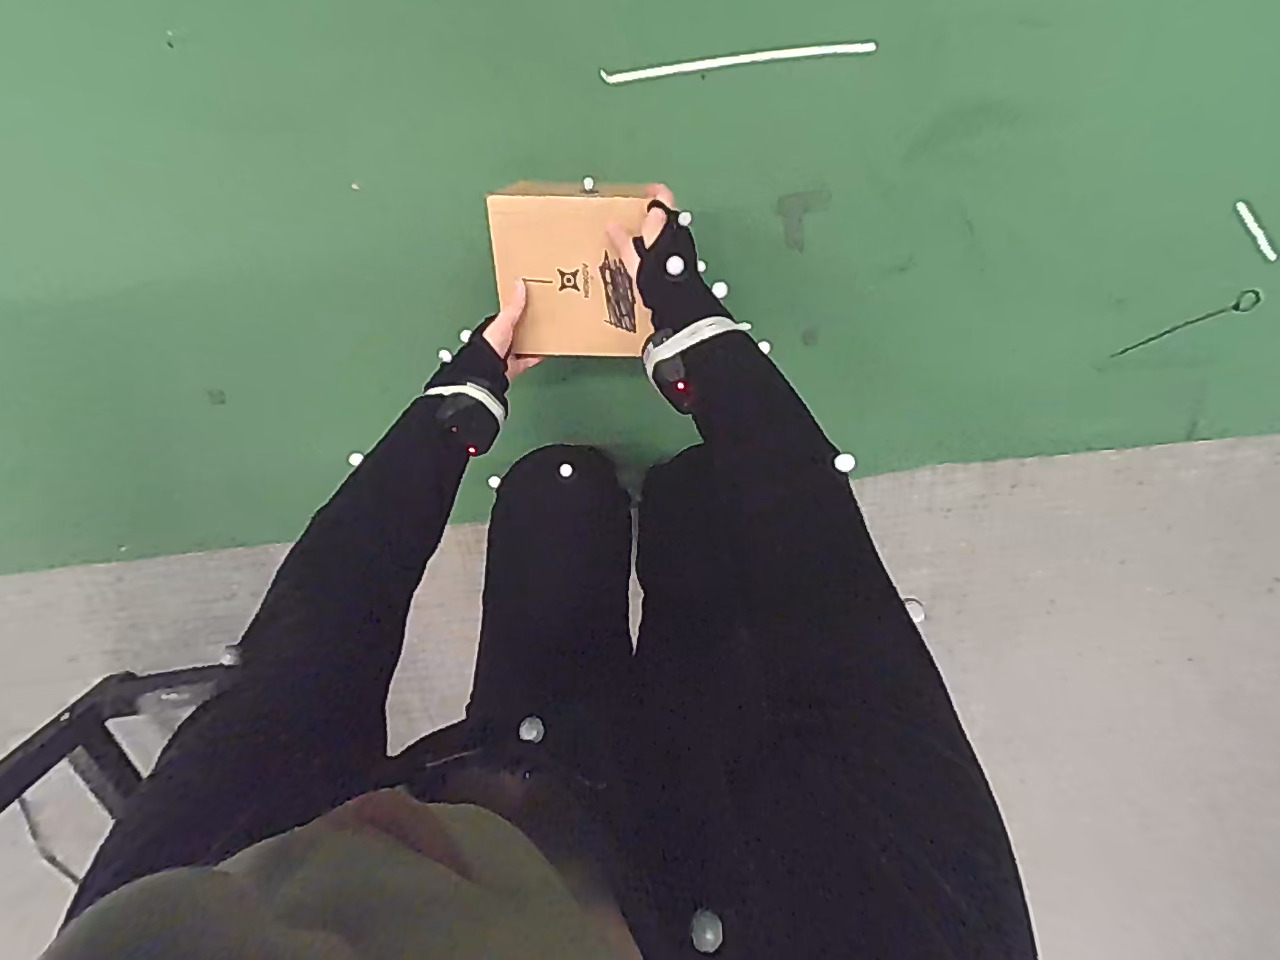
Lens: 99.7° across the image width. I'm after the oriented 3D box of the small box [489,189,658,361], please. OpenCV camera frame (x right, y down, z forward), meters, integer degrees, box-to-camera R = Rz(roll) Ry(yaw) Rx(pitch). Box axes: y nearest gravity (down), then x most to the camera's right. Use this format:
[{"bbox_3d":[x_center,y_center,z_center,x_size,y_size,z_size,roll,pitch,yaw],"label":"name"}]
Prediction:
[{"bbox_3d":[-0.068,-0.254,0.657,0.179,0.176,0.168,2,122,2],"label":"small box"}]
